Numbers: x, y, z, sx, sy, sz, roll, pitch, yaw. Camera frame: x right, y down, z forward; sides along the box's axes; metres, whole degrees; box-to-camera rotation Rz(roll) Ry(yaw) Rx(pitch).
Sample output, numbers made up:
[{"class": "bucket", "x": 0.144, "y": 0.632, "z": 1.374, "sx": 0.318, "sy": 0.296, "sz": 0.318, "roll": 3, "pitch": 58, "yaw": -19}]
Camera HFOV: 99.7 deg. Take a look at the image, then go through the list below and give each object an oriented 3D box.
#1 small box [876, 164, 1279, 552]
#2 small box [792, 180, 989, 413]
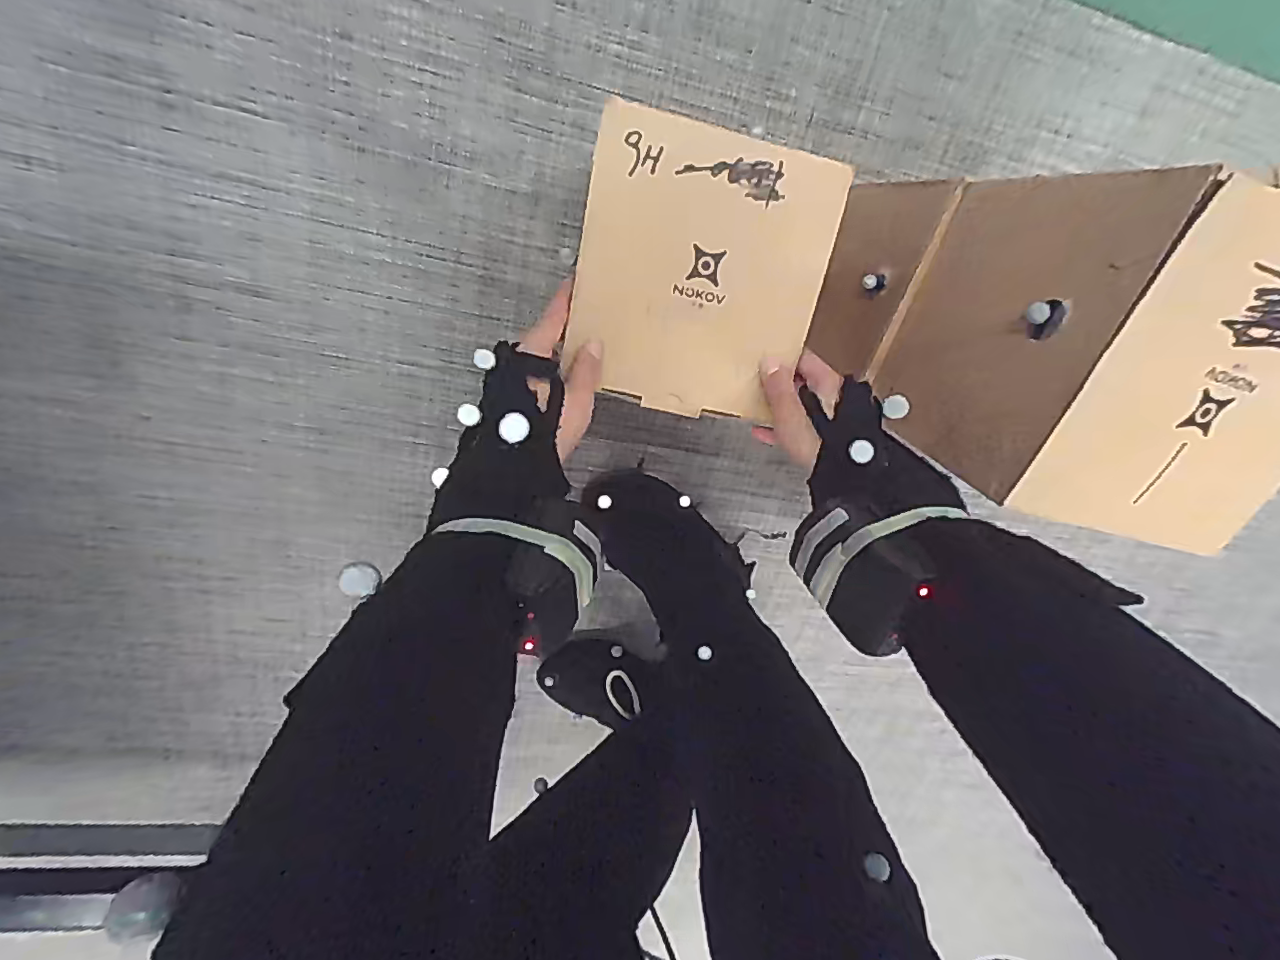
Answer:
[{"class": "small box", "x": 0.293, "y": -0.082, "z": 0.359, "sx": 0.168, "sy": 0.176, "sz": 0.179, "roll": 13, "pitch": 114, "yaw": -13}, {"class": "small box", "x": 0.267, "y": -0.156, "z": 0.504, "sx": 0.168, "sy": 0.176, "sz": 0.179, "roll": 13, "pitch": 115, "yaw": -13}]
